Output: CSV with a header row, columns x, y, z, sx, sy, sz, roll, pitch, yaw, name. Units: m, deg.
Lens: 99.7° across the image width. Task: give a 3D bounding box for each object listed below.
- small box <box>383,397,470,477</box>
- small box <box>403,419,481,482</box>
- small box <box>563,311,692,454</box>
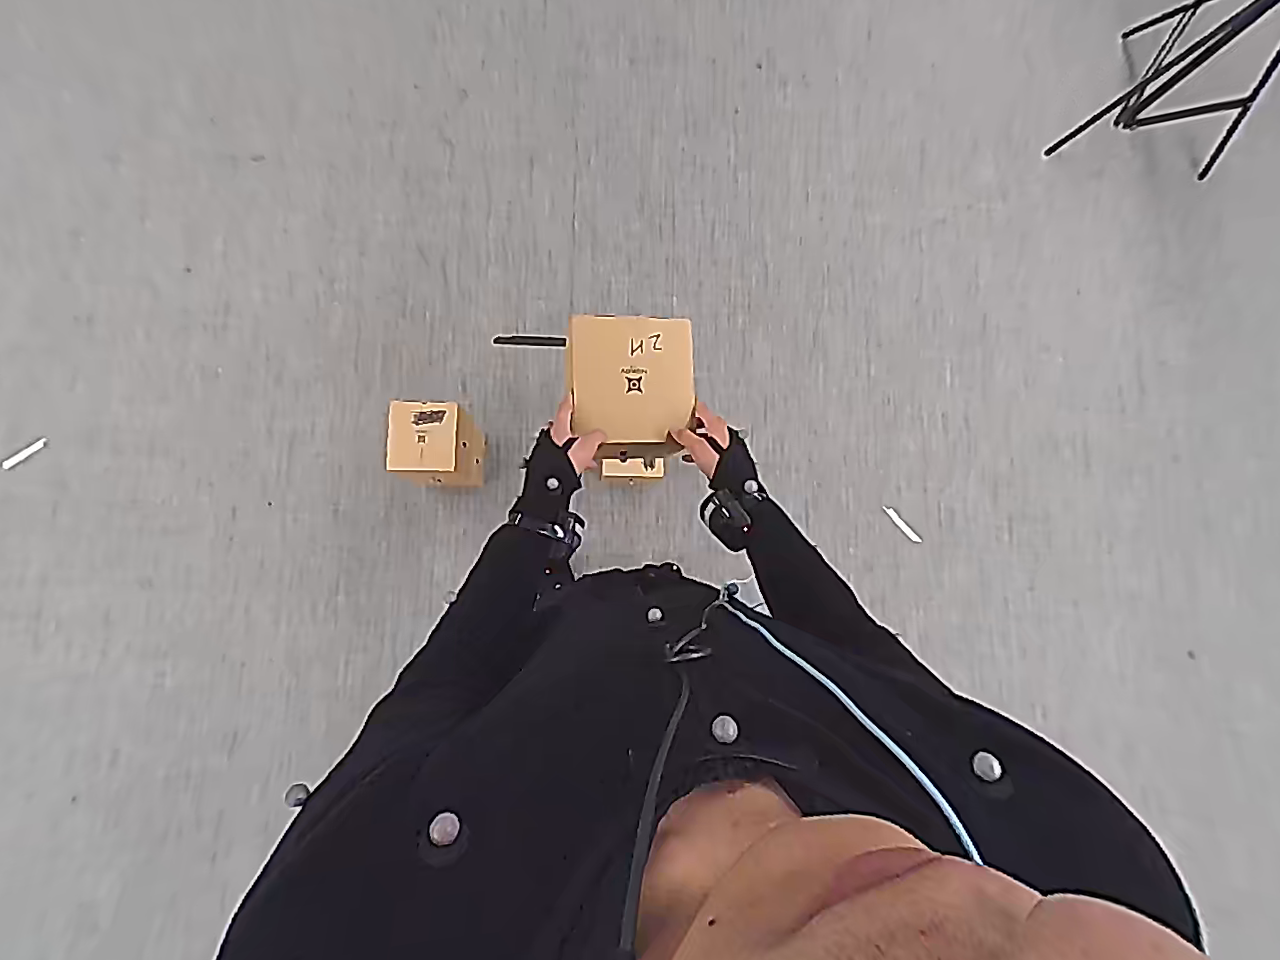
x,y,z,sx,sy,sz,roll,pitch,yaw,name
-0.542,-0.106,1.394,0.168,0.176,0.179,1,84,-4,small box
-0.561,-0.085,1.556,0.179,0.176,0.168,1,84,-4,small box
-0.026,-0.131,0.797,0.168,0.176,0.179,-1,85,-11,small box
